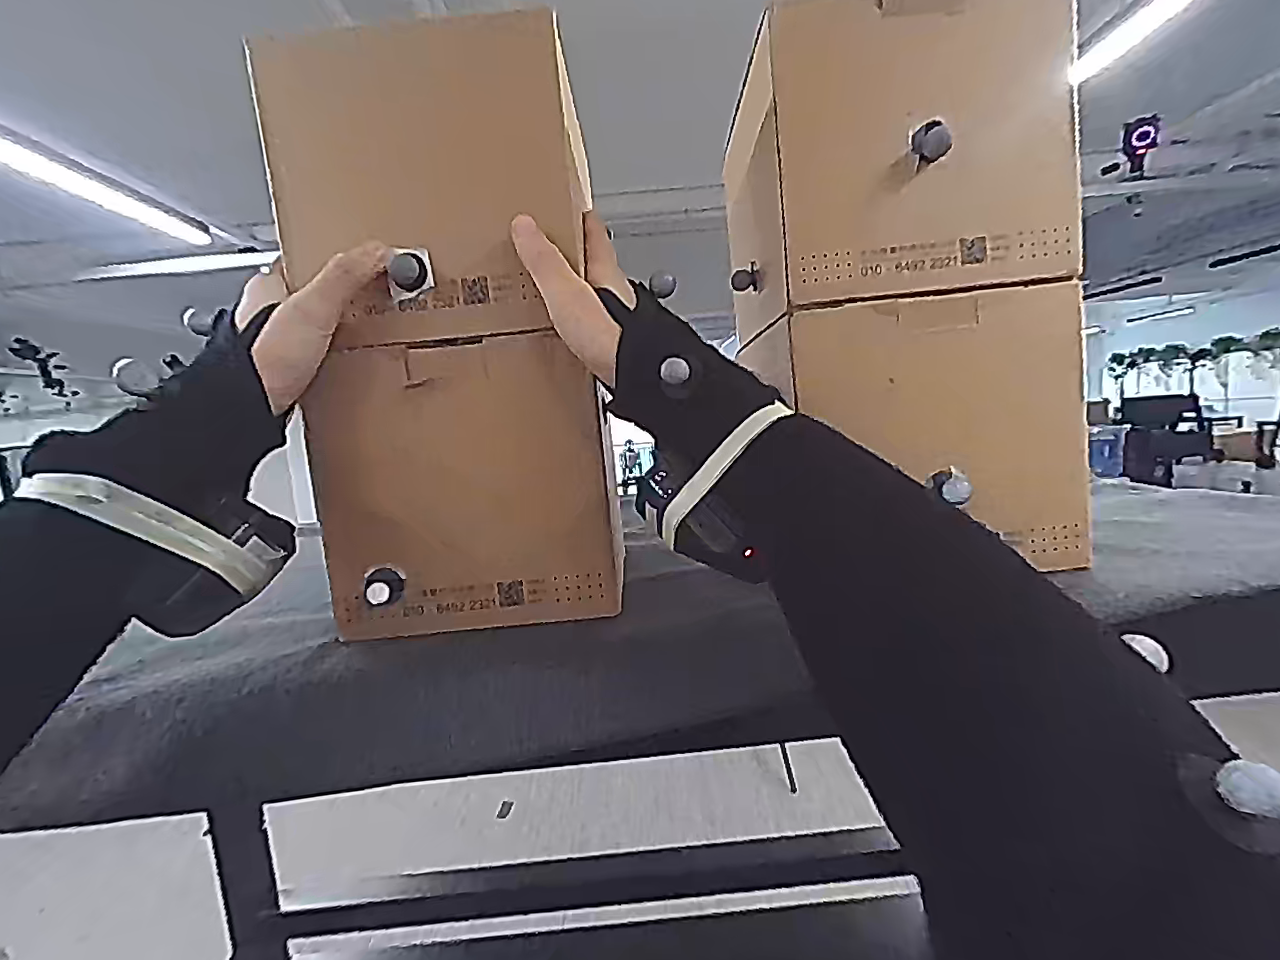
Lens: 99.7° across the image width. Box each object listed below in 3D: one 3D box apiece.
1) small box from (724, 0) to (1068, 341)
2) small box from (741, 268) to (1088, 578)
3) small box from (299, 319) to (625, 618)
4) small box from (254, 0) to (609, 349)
[{"bbox_3d":[0.158,-0.197,0.378,0.168,0.176,0.179,-6,5,1],"label":"small box"},{"bbox_3d":[0.174,-0.034,0.391,0.168,0.176,0.179,-7,5,0],"label":"small box"},{"bbox_3d":[-0.099,-0.006,0.386,0.168,0.176,0.179,-5,5,0],"label":"small box"},{"bbox_3d":[-0.114,-0.169,0.371,0.168,0.176,0.179,-7,7,0],"label":"small box"}]
